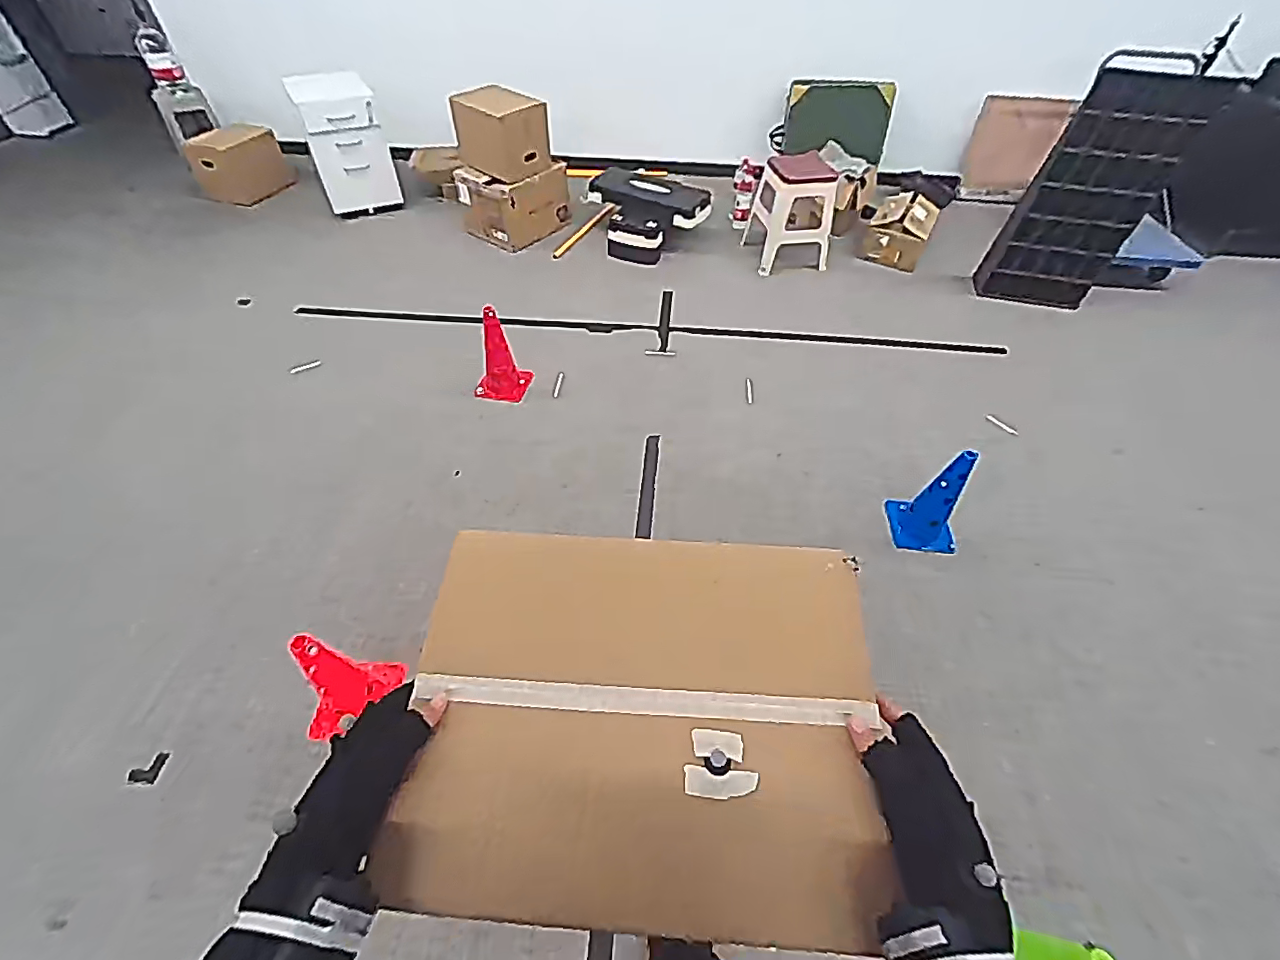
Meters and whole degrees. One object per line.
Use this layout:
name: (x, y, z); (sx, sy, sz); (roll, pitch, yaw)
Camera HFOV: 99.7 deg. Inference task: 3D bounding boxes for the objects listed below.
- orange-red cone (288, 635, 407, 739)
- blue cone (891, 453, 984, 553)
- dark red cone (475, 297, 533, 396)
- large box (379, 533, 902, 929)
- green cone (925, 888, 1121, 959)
orange-red cone: (-0.726, 0.460, 1.279); (0.198, 0.360, 0.199); (2, 51, 1)
blue cone: (0.963, 0.054, 1.708); (0.192, 0.380, 0.193); (8, 50, 3)
dark red cone: (-0.551, -0.527, 2.107); (0.201, 0.394, 0.202); (10, 50, 5)
large box: (0.006, 0.274, 0.609); (0.408, 0.320, 0.320); (3, 57, 3)
green cone: (0.721, 0.875, 0.967); (0.202, 0.368, 0.200); (-24, 55, -23)
